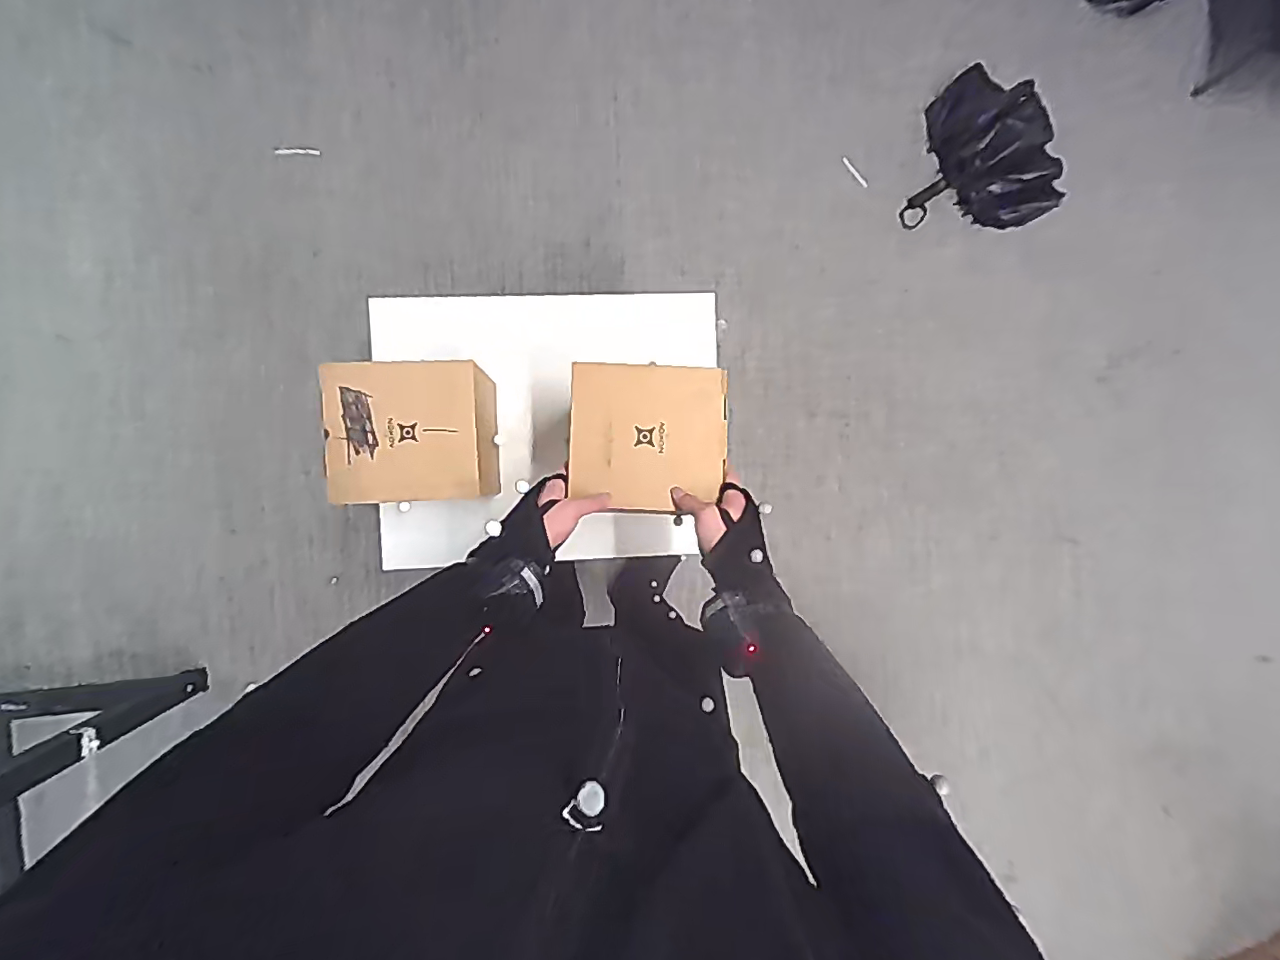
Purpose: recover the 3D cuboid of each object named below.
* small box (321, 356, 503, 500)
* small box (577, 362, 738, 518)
[{"bbox_3d":[-0.278,-0.060,0.693,0.179,0.176,0.168,-2,92,-7],"label":"small box"},{"bbox_3d":[0.016,-0.040,0.669,0.179,0.176,0.168,1,84,-2],"label":"small box"}]
